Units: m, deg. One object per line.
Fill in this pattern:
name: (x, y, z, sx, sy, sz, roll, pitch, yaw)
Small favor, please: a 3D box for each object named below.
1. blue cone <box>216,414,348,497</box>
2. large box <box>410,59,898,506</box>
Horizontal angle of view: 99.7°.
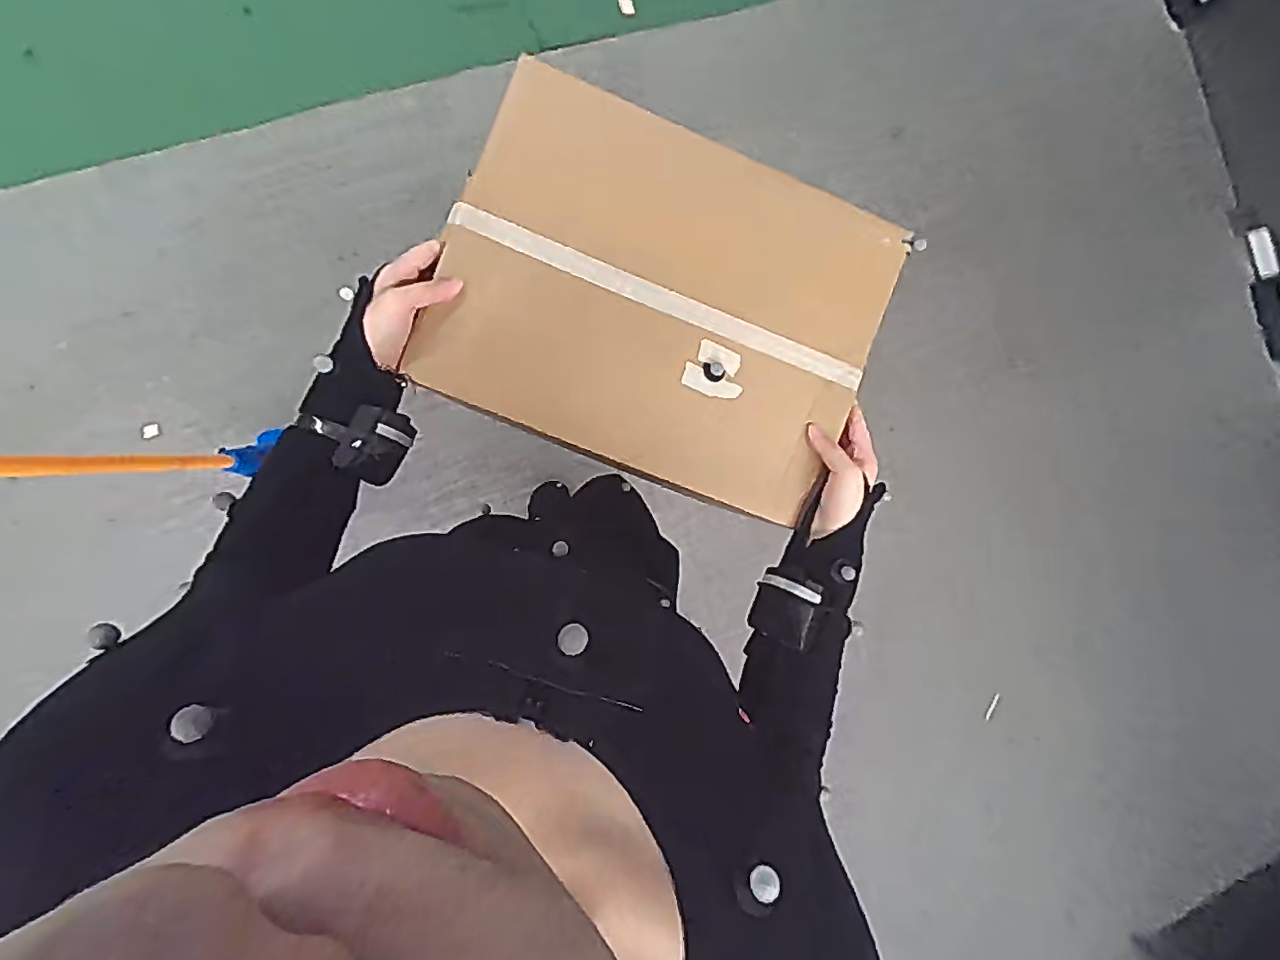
blue cone: (-0.825, -0.059, 1.217, 0.193, 0.380, 0.192, -12, 92, -10)
large box: (0.006, -0.183, 0.660, 0.408, 0.320, 0.320, 20, 90, -7)
